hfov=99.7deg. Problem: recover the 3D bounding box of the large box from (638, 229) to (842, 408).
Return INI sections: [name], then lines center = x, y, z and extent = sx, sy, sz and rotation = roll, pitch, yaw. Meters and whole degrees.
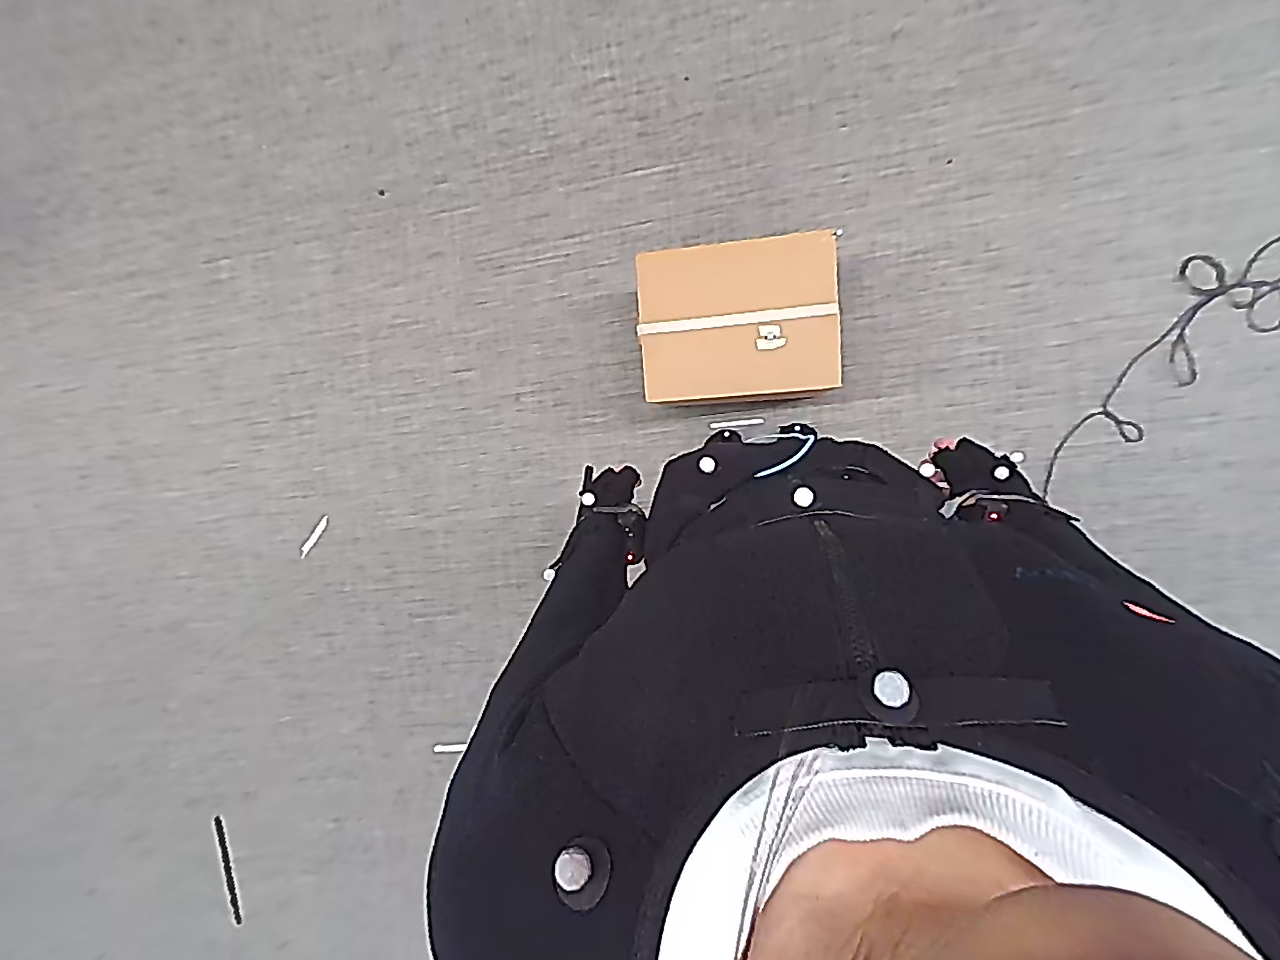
[large box]
center = 0.223, -0.347, 1.263
extent = 0.408, 0.320, 0.320
rotation = -4, 95, 9
